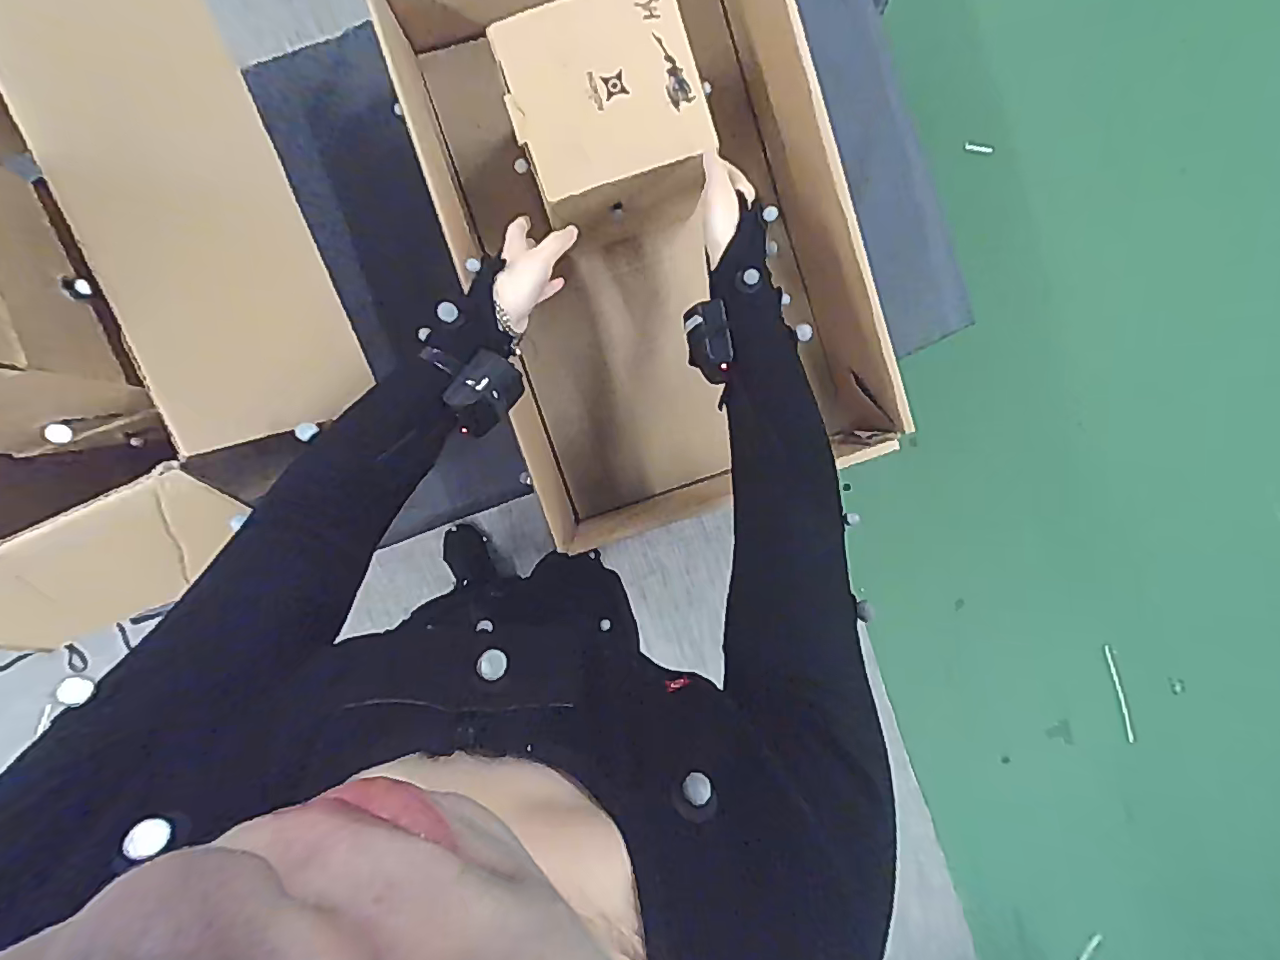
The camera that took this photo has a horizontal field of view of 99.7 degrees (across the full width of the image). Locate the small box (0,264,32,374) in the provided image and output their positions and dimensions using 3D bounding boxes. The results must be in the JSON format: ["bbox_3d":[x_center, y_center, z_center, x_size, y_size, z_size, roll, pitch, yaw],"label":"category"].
[{"bbox_3d":[-0.515,-0.125,0.284,0.179,0.176,0.168,-20,95,-6],"label":"small box"}]
